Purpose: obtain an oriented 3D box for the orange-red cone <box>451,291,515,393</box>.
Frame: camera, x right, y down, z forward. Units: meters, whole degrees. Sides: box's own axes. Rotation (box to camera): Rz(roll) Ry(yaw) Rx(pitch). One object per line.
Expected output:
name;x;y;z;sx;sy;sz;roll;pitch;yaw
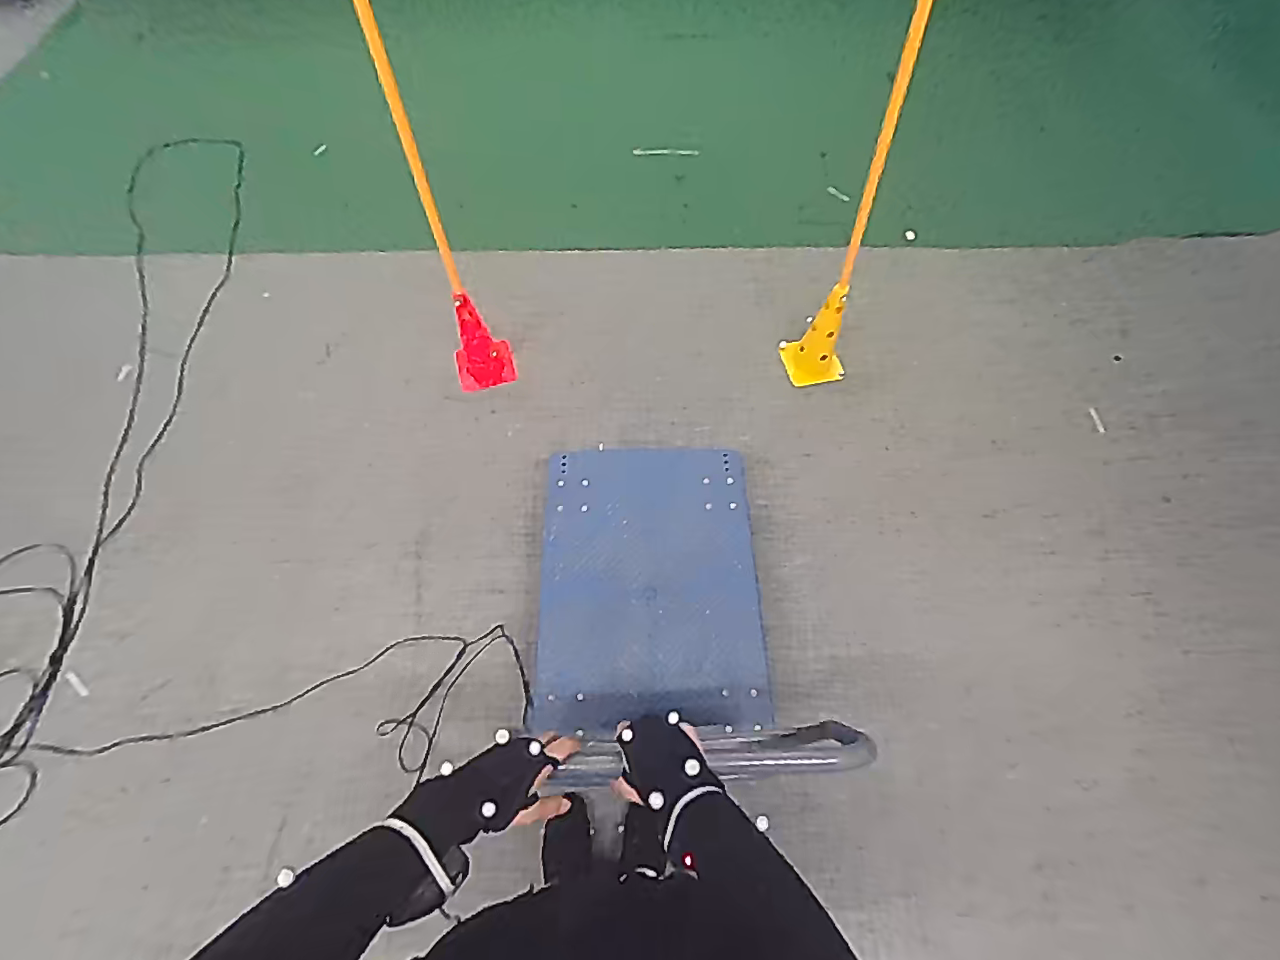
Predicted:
orange-red cone;-0.562;-0.484;1.807;0.199;0.360;0.198;-15;63;-6
